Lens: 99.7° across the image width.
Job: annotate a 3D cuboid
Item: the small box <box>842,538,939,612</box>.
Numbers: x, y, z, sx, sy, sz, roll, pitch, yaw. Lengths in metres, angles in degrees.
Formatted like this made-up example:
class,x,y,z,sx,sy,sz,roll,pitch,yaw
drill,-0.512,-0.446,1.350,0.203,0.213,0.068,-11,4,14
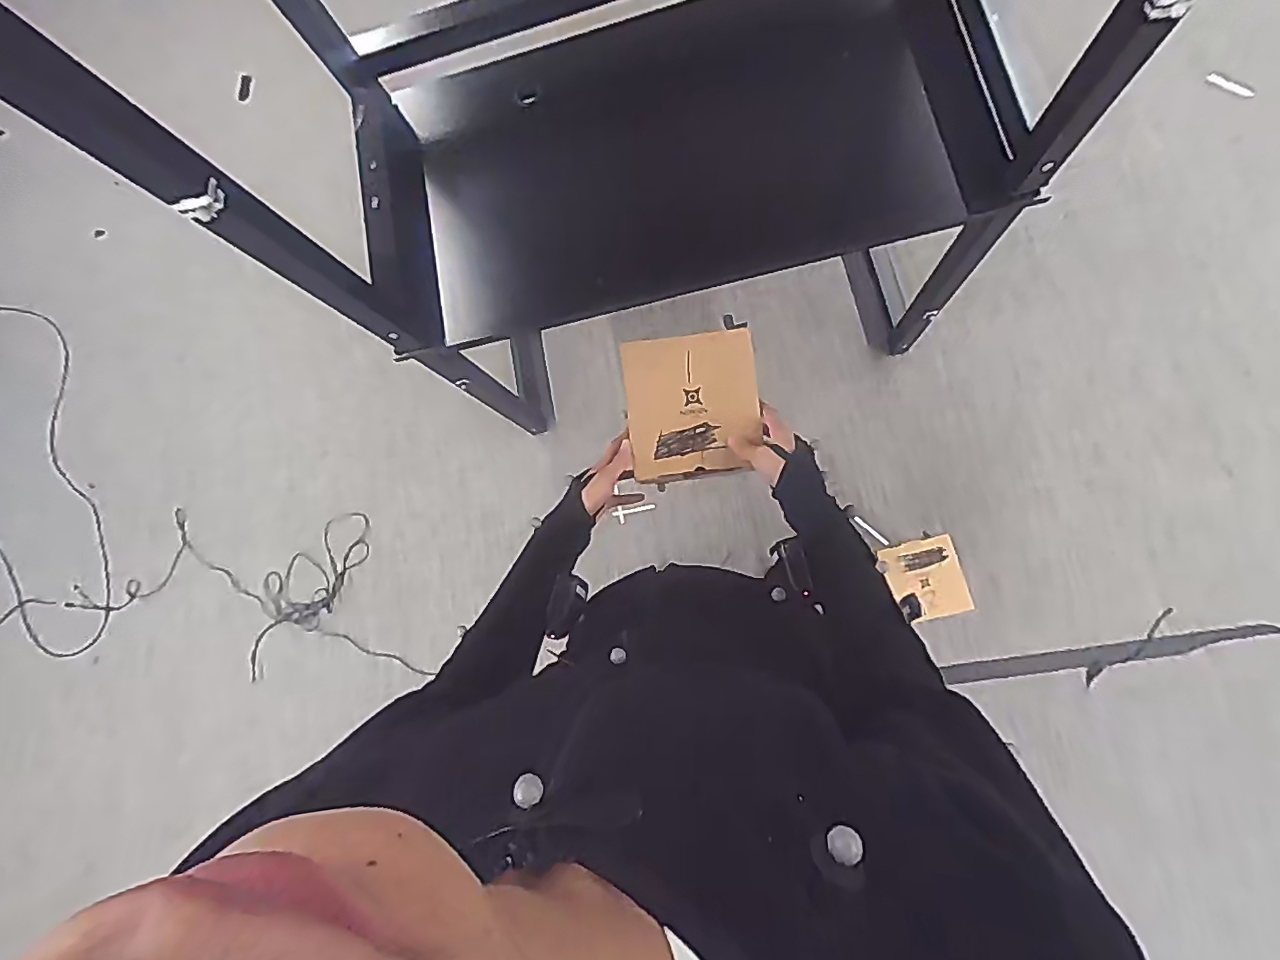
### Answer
class,x,y,z,sx,sy,sz,roll,pitch,yaw
small box,0.668,0.251,1.458,0.179,0.176,0.168,-13,80,7

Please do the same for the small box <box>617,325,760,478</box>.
class,x,y,z,sx,sy,sz,roll,pitch,yaw
small box,0.063,-0.096,0.746,0.168,0.176,0.179,-6,87,2
